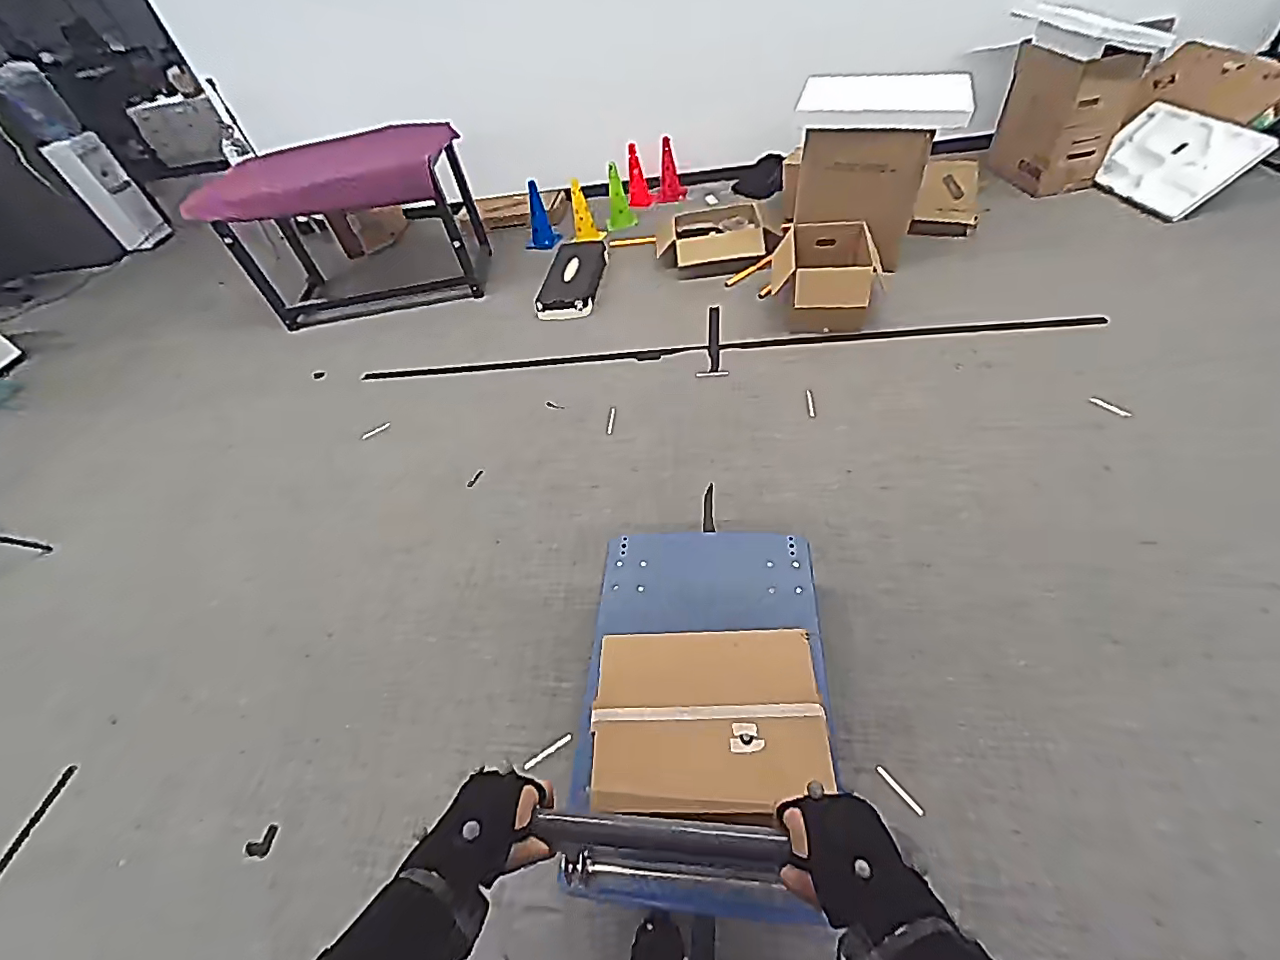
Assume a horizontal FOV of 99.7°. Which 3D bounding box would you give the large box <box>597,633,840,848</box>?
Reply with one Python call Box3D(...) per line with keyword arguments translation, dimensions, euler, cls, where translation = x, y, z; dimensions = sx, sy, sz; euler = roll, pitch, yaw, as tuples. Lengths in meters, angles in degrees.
Box3D(translation=(0.141, 0.527, 1.084), dimensions=(0.408, 0.320, 0.320), euler=(-4, 49, 6), cls="large box")
